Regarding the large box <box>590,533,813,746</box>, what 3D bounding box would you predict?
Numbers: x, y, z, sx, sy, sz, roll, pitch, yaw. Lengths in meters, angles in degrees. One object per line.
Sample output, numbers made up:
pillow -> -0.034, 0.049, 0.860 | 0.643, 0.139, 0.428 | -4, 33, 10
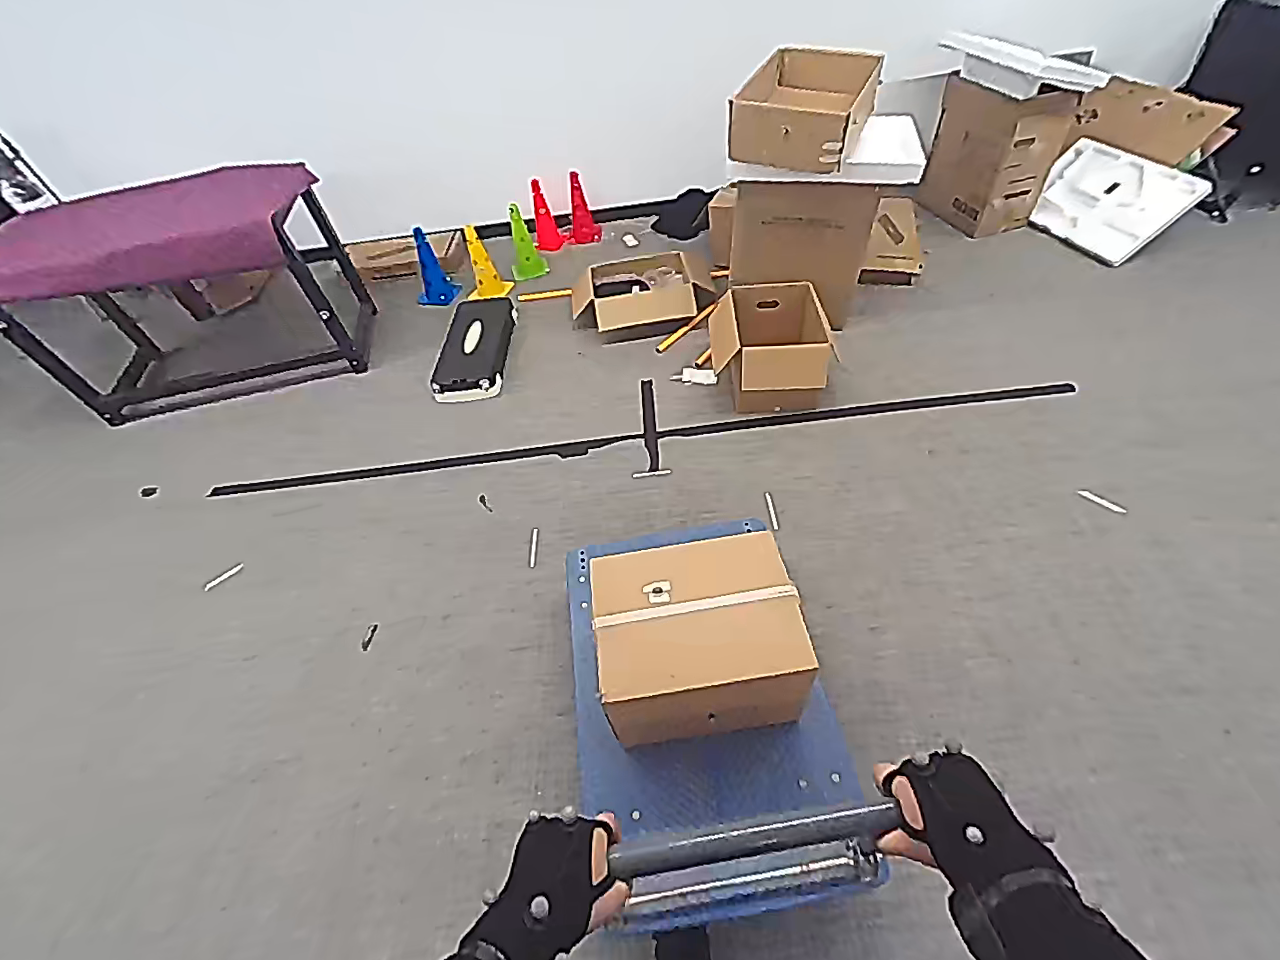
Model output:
large box -> 0.125, 0.360, 1.208 | 0.408, 0.320, 0.320 | -10, 48, 0
